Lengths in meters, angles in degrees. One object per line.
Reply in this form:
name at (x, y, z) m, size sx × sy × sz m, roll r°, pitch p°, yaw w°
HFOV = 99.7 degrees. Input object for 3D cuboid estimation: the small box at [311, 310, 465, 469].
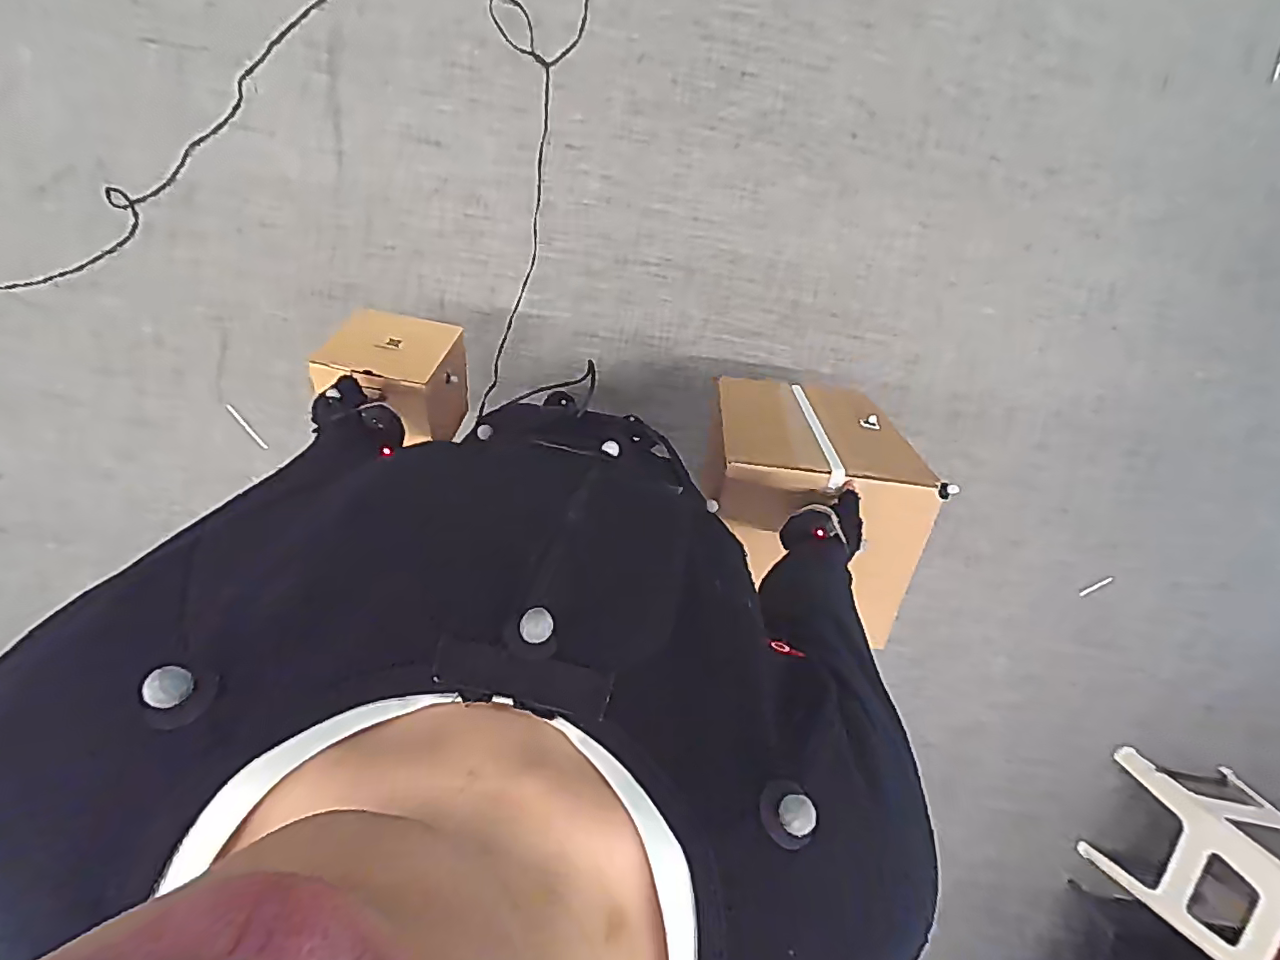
small box at (-0.390, -0.145, 0.874) m, size 0.168 × 0.179 × 0.176 m, roll 10°, pitch 133°, yaw -3°
